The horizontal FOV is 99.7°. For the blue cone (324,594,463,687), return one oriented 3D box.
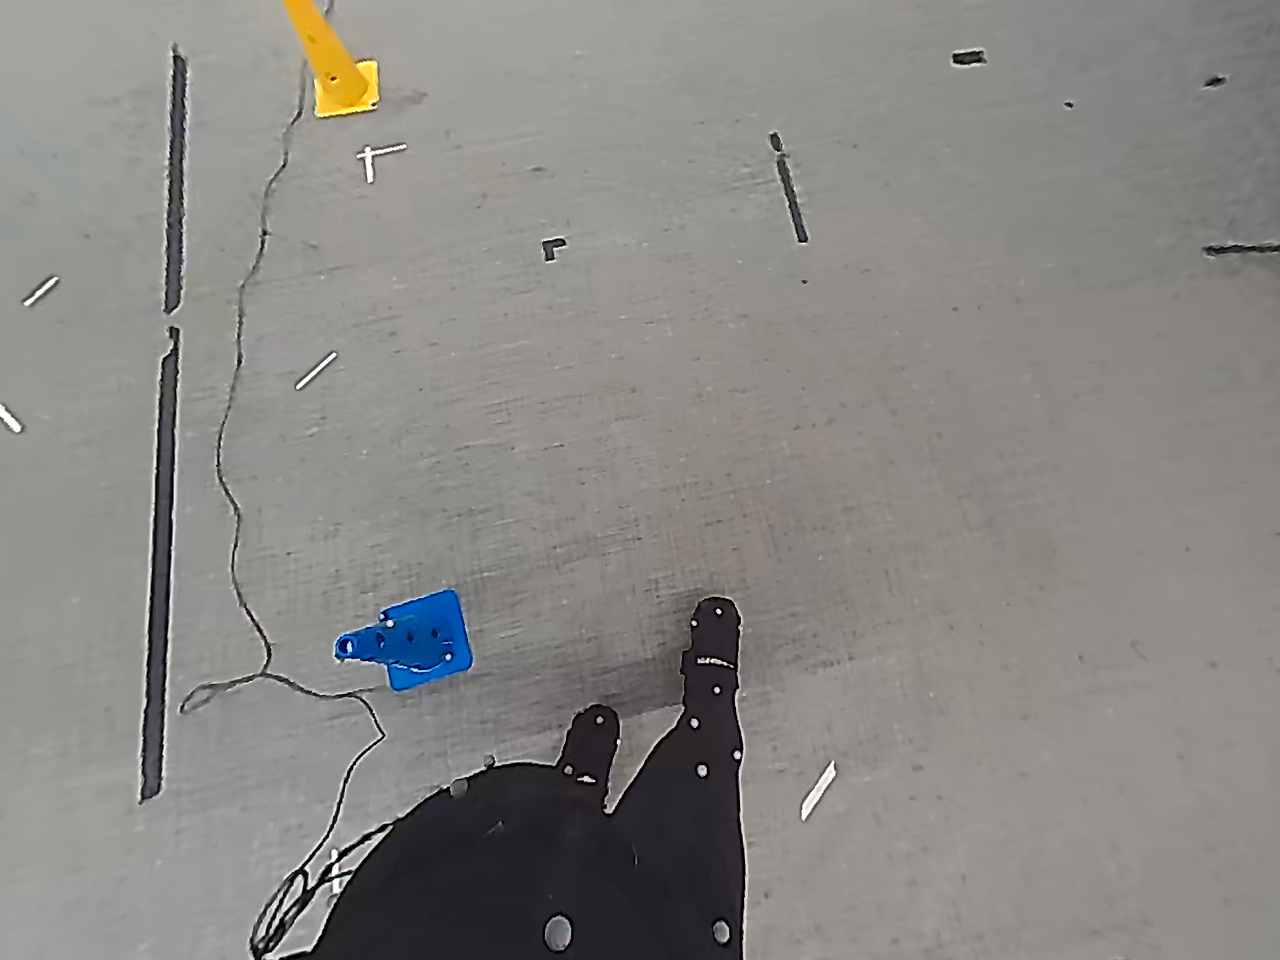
[{"bbox_3d":[-0.534,0.344,1.149,0.192,0.380,0.193,-16,76,-2],"label":"blue cone"}]
